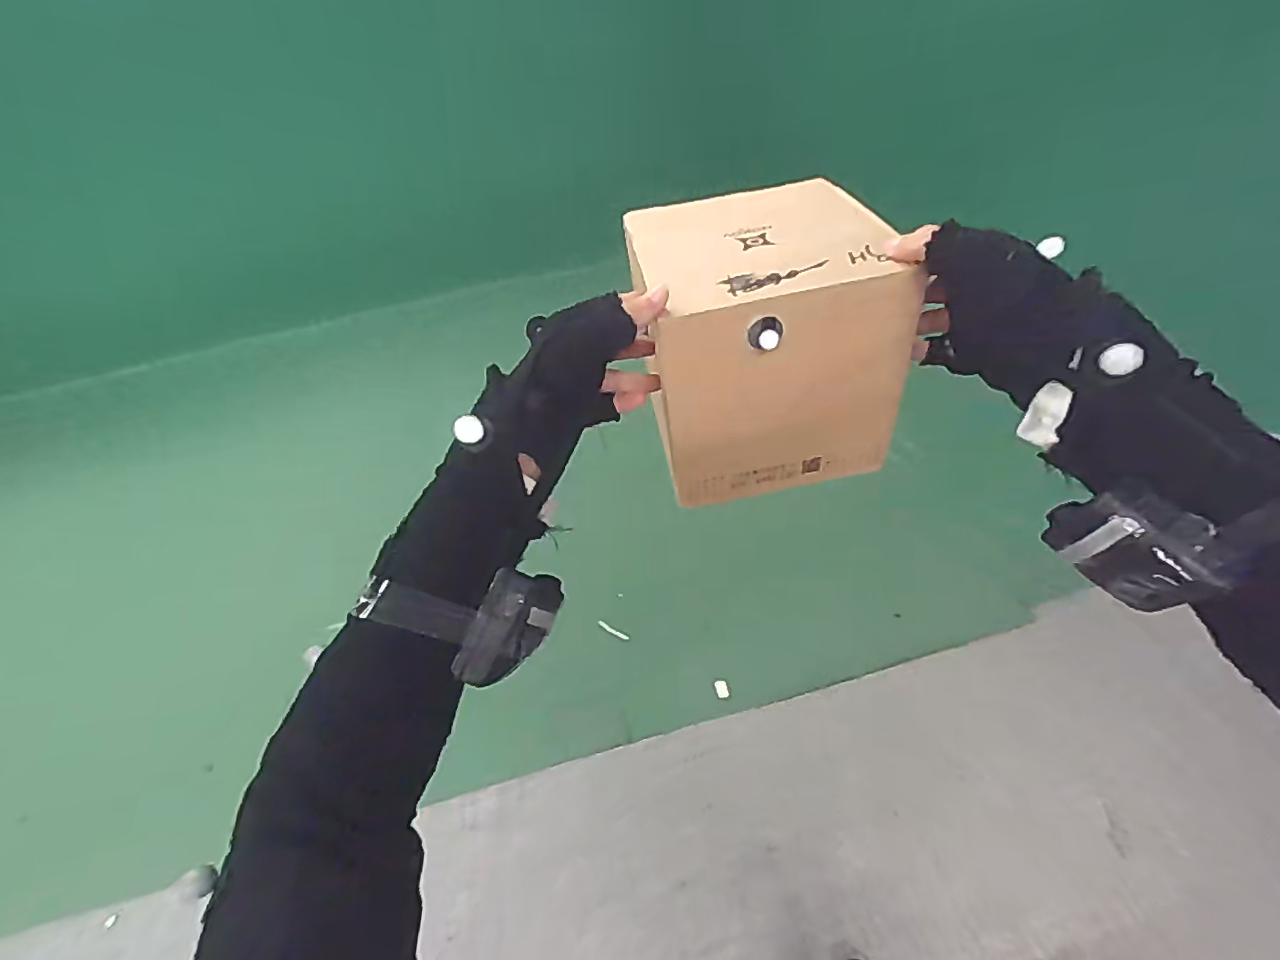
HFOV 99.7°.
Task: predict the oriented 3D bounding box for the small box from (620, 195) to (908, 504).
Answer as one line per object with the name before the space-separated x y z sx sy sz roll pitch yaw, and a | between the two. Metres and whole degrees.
small box | 0.083 -0.107 0.443 0.168 0.176 0.179 -11 44 0
